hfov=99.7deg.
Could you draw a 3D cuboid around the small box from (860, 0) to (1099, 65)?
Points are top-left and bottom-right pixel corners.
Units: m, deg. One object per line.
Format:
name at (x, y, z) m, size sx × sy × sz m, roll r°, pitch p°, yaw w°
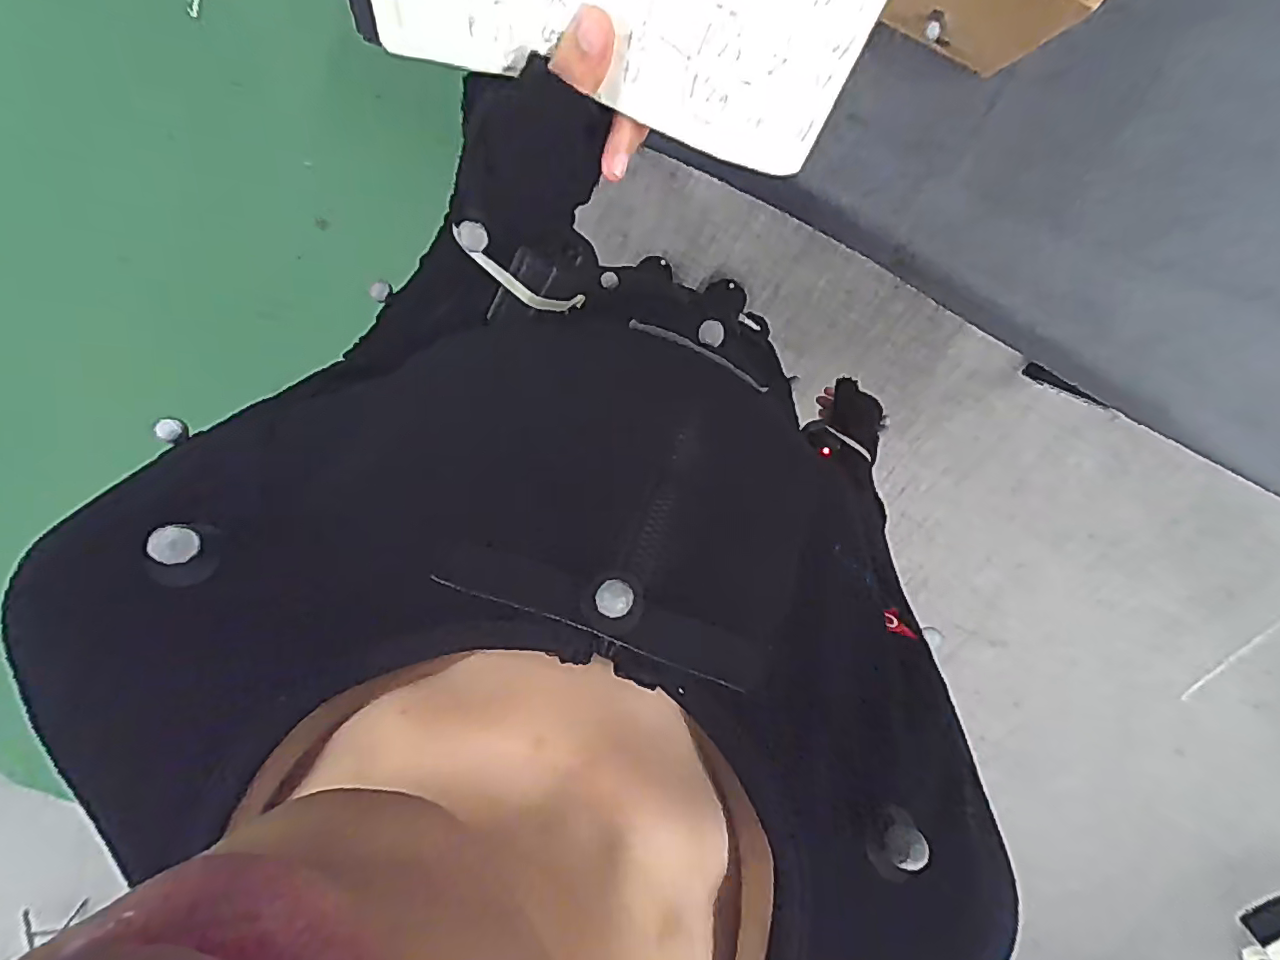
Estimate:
small box at (0.303, -0.482, 0.427) m, size 0.168 × 0.176 × 0.179 m, roll 24°, pitch 113°, yaw -4°
